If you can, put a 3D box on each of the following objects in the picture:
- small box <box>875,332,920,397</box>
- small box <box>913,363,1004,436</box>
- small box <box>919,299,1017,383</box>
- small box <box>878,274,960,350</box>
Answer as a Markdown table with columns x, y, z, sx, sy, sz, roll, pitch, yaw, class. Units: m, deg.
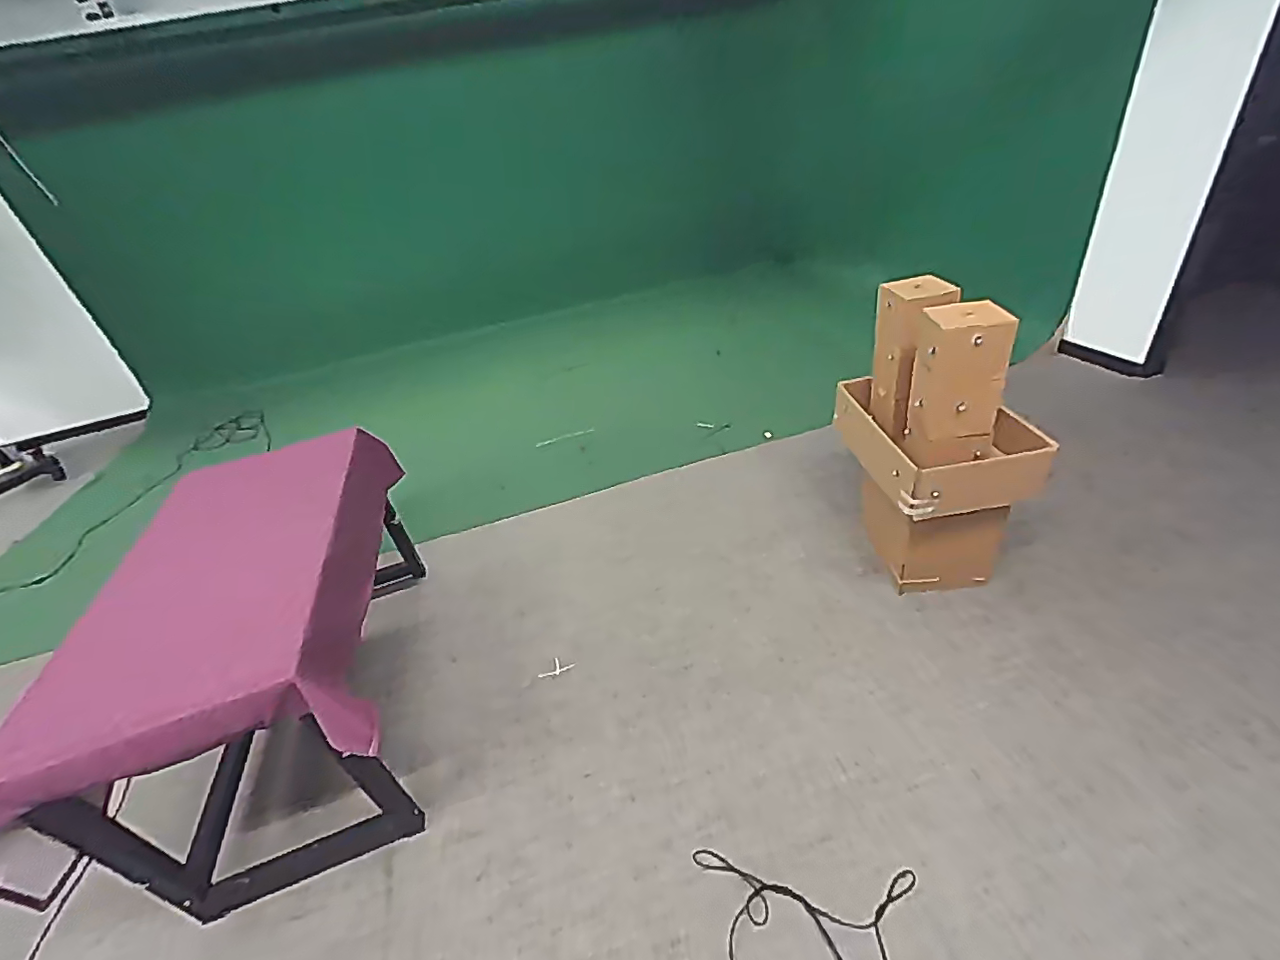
| x | y | z | sx | sy | sz | roll | pitch | yaw | class |
| --- | --- | --- | --- | --- | --- | --- | --- | --- | --- |
| 0.895 | -0.395 | 1.790 | 0.168 | 0.176 | 0.179 | -11 | 35 | 2 | small box |
| 0.903 | -0.239 | 1.555 | 0.179 | 0.176 | 0.168 | -8 | 34 | 8 | small box |
| 0.874 | -0.373 | 1.464 | 0.179 | 0.176 | 0.168 | -6 | 35 | 8 | small box |
| 0.864 | -0.527 | 1.695 | 0.168 | 0.176 | 0.179 | -12 | 35 | 1 | small box |
